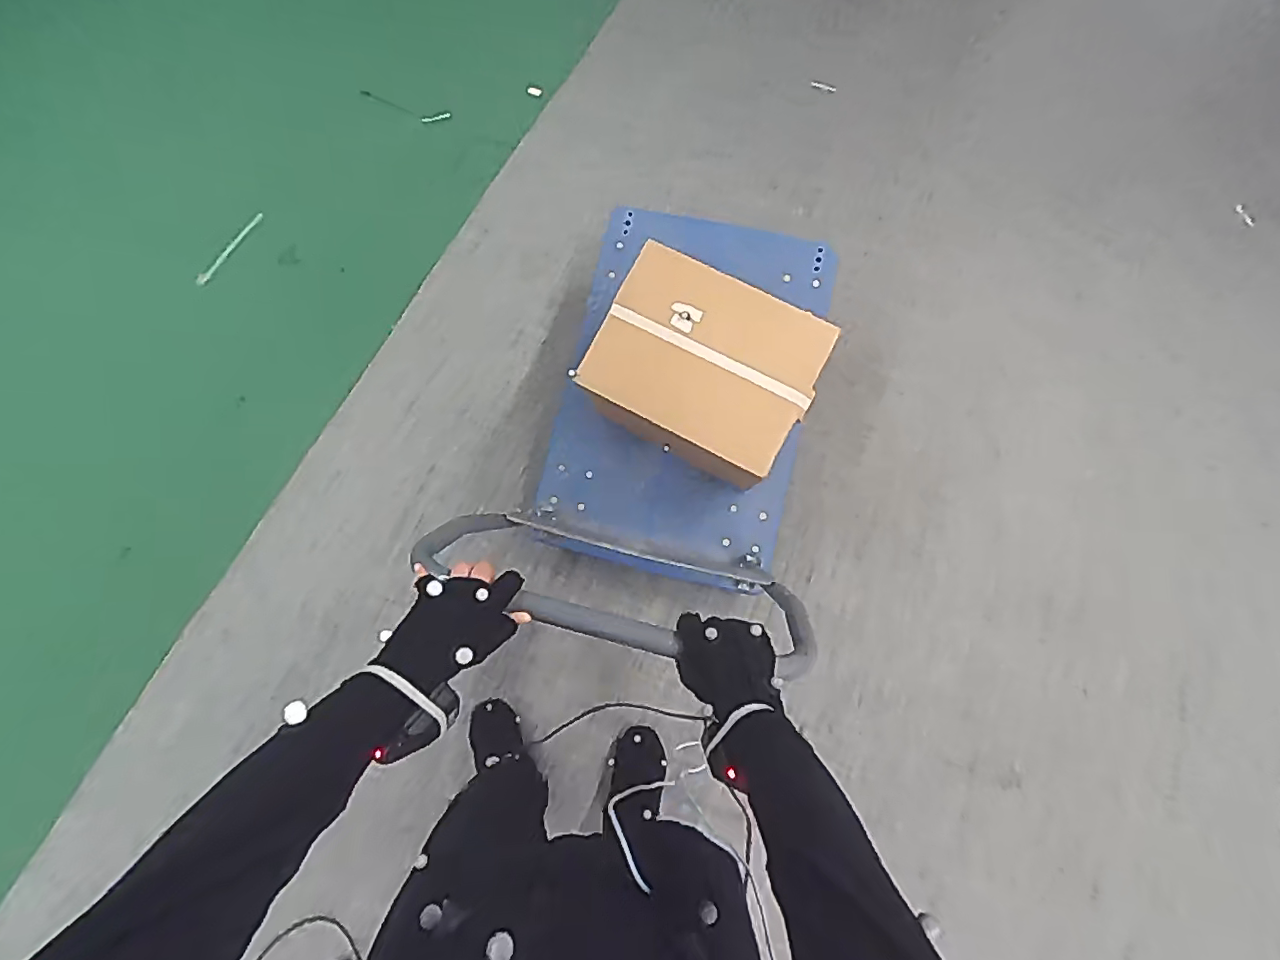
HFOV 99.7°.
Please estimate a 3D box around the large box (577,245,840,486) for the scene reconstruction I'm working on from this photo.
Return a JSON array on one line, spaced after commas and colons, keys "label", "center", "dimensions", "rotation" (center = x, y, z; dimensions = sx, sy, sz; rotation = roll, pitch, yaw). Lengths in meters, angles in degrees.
[{"label": "large box", "center": [0.140, -0.215, 1.147], "dimensions": [0.408, 0.320, 0.320], "rotation": [28, 88, 8]}]
